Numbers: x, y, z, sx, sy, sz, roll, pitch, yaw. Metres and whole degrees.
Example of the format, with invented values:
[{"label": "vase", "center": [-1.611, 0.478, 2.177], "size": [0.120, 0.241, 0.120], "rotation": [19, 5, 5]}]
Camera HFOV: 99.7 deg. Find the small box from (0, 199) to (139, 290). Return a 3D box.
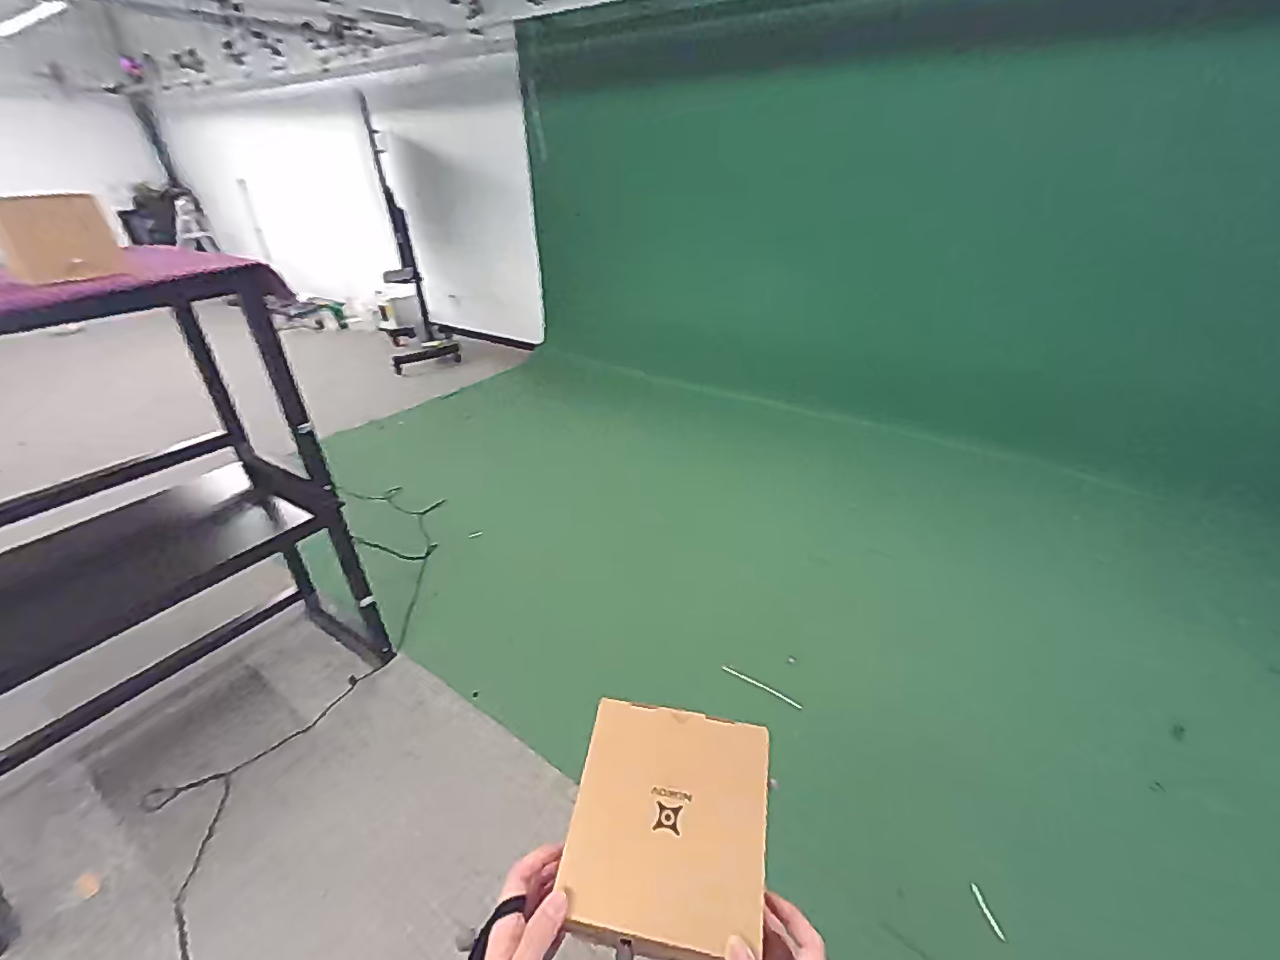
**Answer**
[{"label": "small box", "center": [-1.284, -0.535, 1.218], "size": [0.168, 0.176, 0.179], "rotation": [17, 35, 31]}]
